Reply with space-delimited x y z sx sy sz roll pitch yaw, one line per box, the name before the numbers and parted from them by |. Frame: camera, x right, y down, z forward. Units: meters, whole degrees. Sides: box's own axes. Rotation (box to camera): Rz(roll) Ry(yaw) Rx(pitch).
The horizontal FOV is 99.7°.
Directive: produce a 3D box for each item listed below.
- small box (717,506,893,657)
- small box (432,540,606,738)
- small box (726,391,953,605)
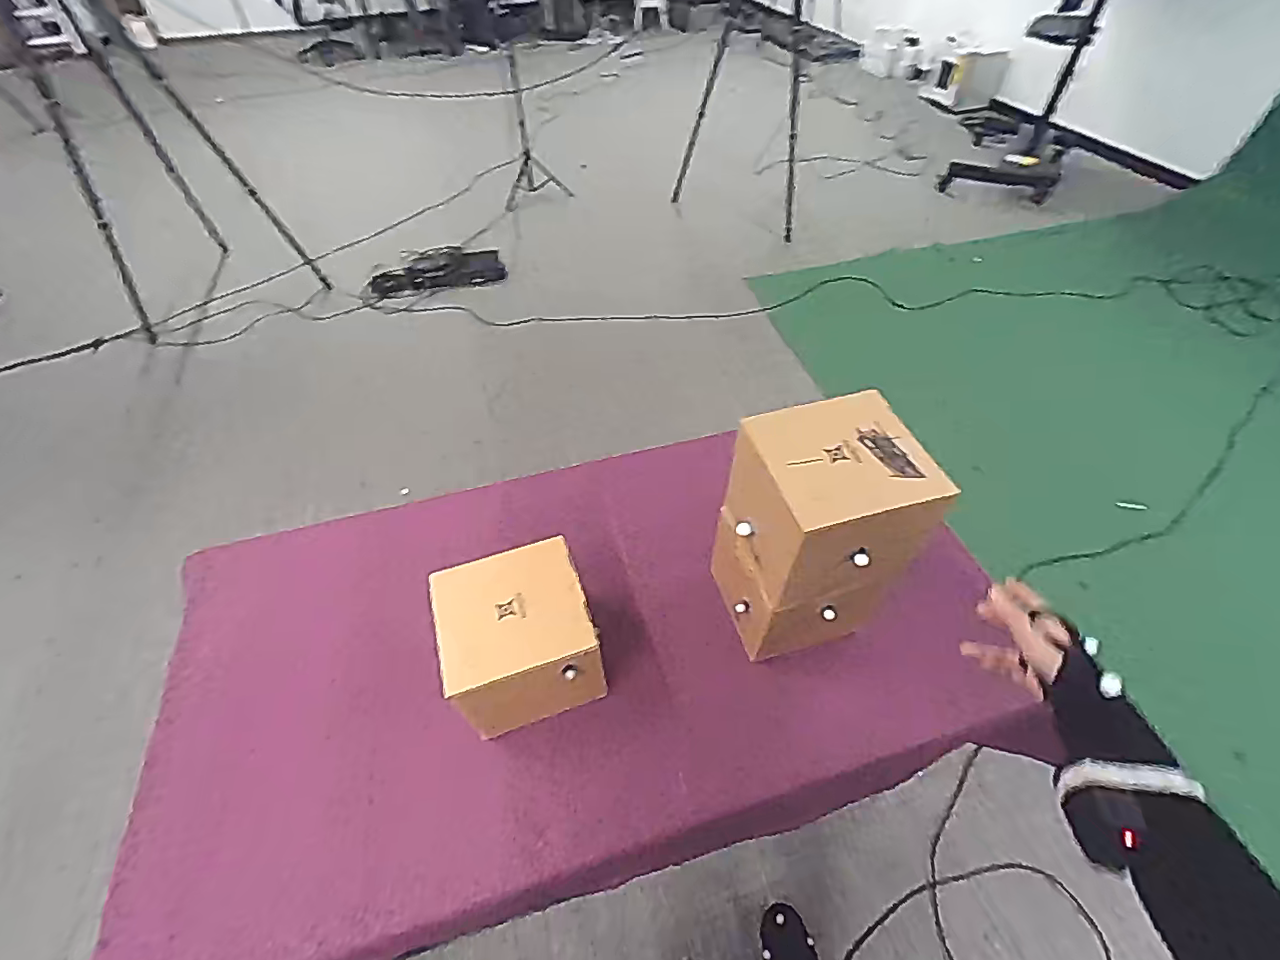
small box | 0.217 0.130 0.772 0.179 0.176 0.168 -13 52 -10
small box | -0.154 0.212 0.715 0.179 0.176 0.168 -17 51 -13
small box | 0.217 0.024 0.646 0.179 0.176 0.168 -14 52 -9
